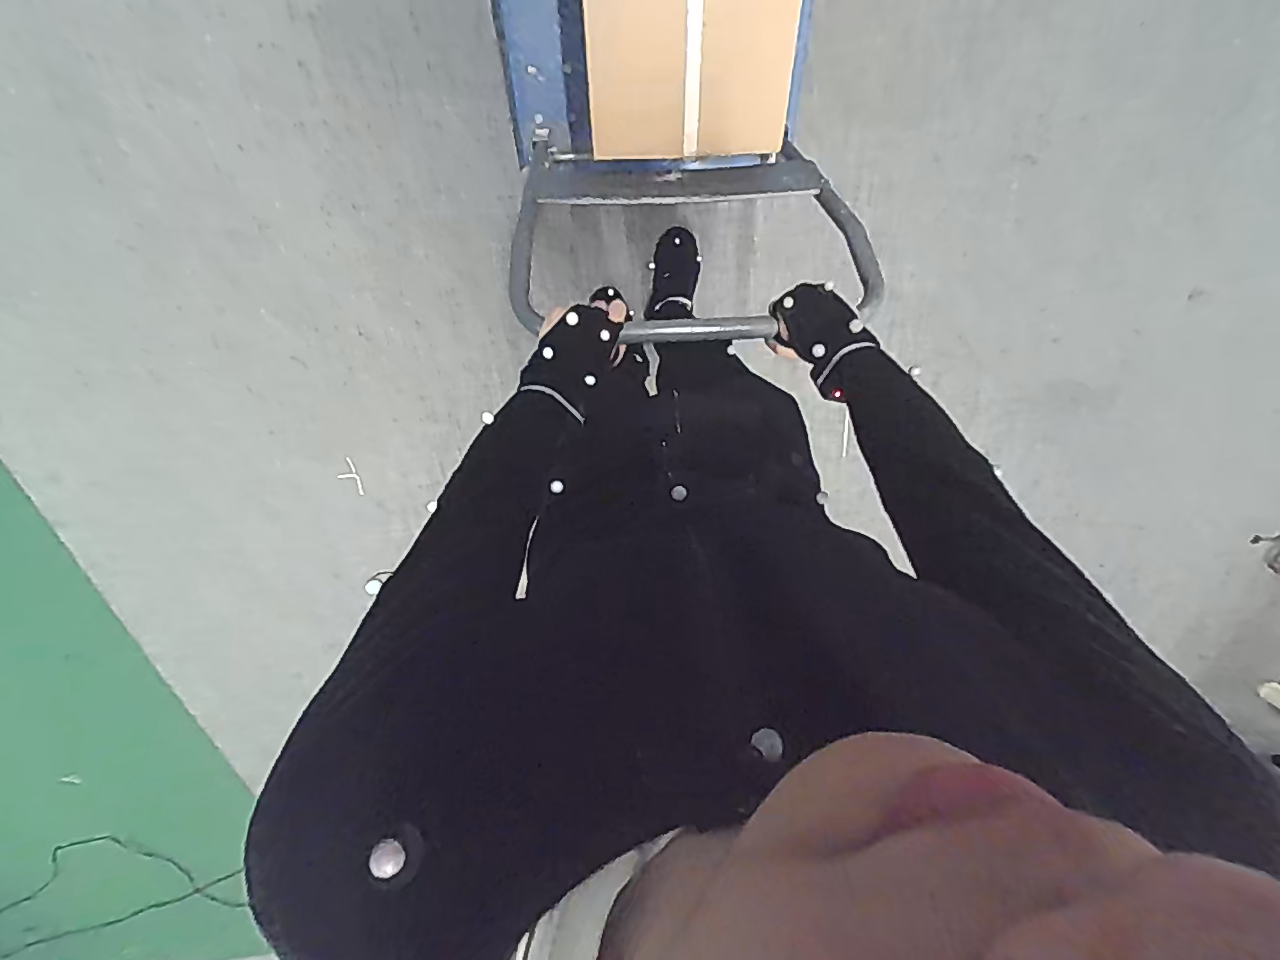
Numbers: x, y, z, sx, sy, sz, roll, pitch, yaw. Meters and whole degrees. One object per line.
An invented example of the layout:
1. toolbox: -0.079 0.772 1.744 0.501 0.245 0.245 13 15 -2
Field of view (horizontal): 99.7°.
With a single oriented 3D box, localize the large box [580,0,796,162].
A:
1. large box: 0.064 -0.780 0.873 0.320 0.320 0.408 -4 133 -2
